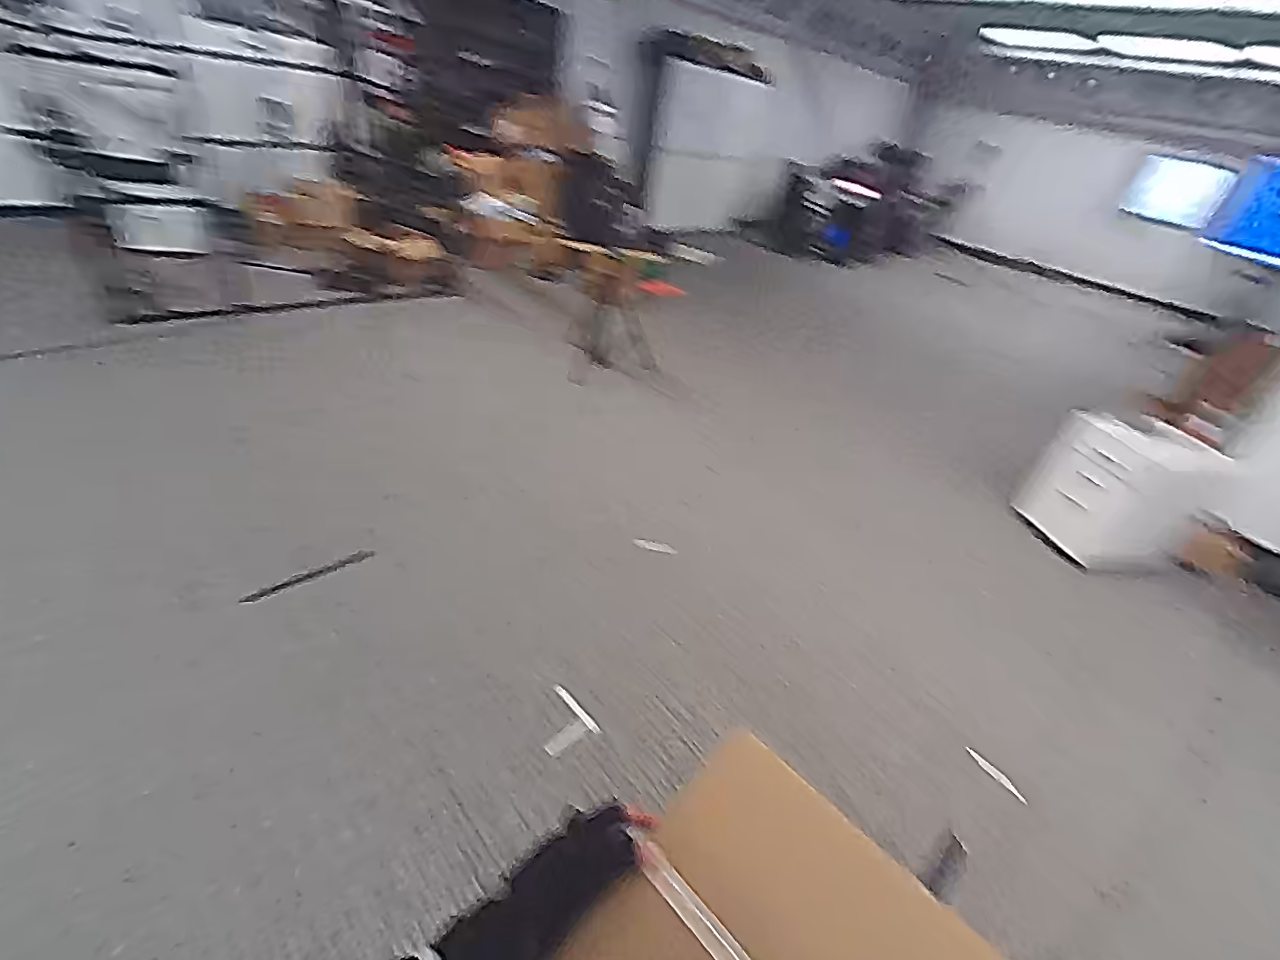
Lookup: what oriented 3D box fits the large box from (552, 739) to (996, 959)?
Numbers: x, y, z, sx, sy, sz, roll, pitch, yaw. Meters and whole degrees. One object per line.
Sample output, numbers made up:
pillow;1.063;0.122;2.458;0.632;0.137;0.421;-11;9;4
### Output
large box;0.140;0.552;0.506;0.320;0.320;0.408;-33;53;-31
